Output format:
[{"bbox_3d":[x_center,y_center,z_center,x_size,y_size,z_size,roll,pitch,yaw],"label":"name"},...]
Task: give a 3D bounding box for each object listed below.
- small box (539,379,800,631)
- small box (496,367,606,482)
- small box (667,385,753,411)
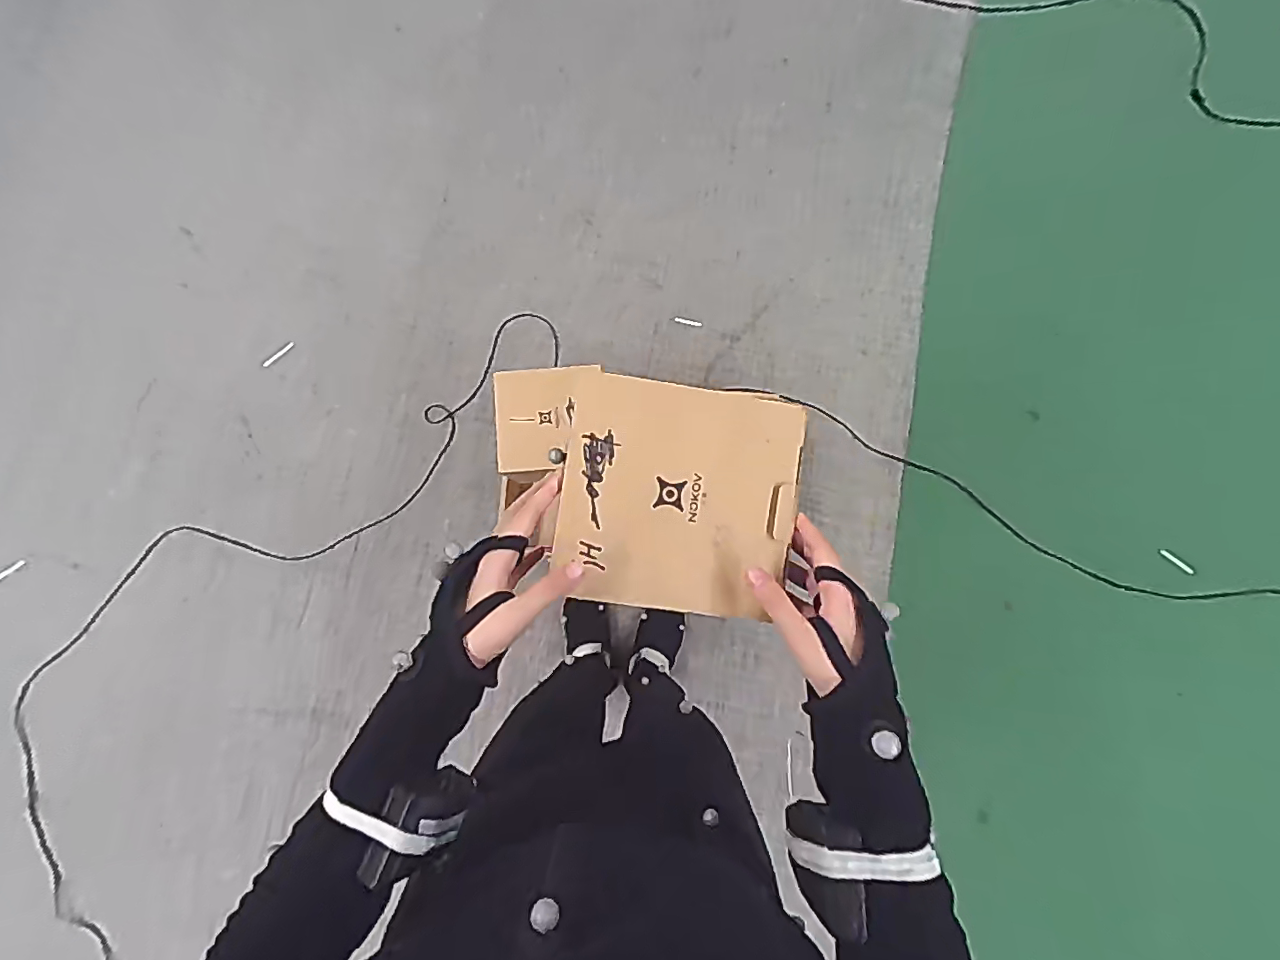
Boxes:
[{"bbox_3d":[0.017,0.024,0.477,0.179,0.176,0.168,9,85,-5],"label":"small box"},{"bbox_3d":[-0.139,-0.088,0.935,0.179,0.176,0.168,-4,84,0],"label":"small box"},{"bbox_3d":[0.124,-0.076,1.090,0.168,0.176,0.179,7,84,3],"label":"small box"}]
